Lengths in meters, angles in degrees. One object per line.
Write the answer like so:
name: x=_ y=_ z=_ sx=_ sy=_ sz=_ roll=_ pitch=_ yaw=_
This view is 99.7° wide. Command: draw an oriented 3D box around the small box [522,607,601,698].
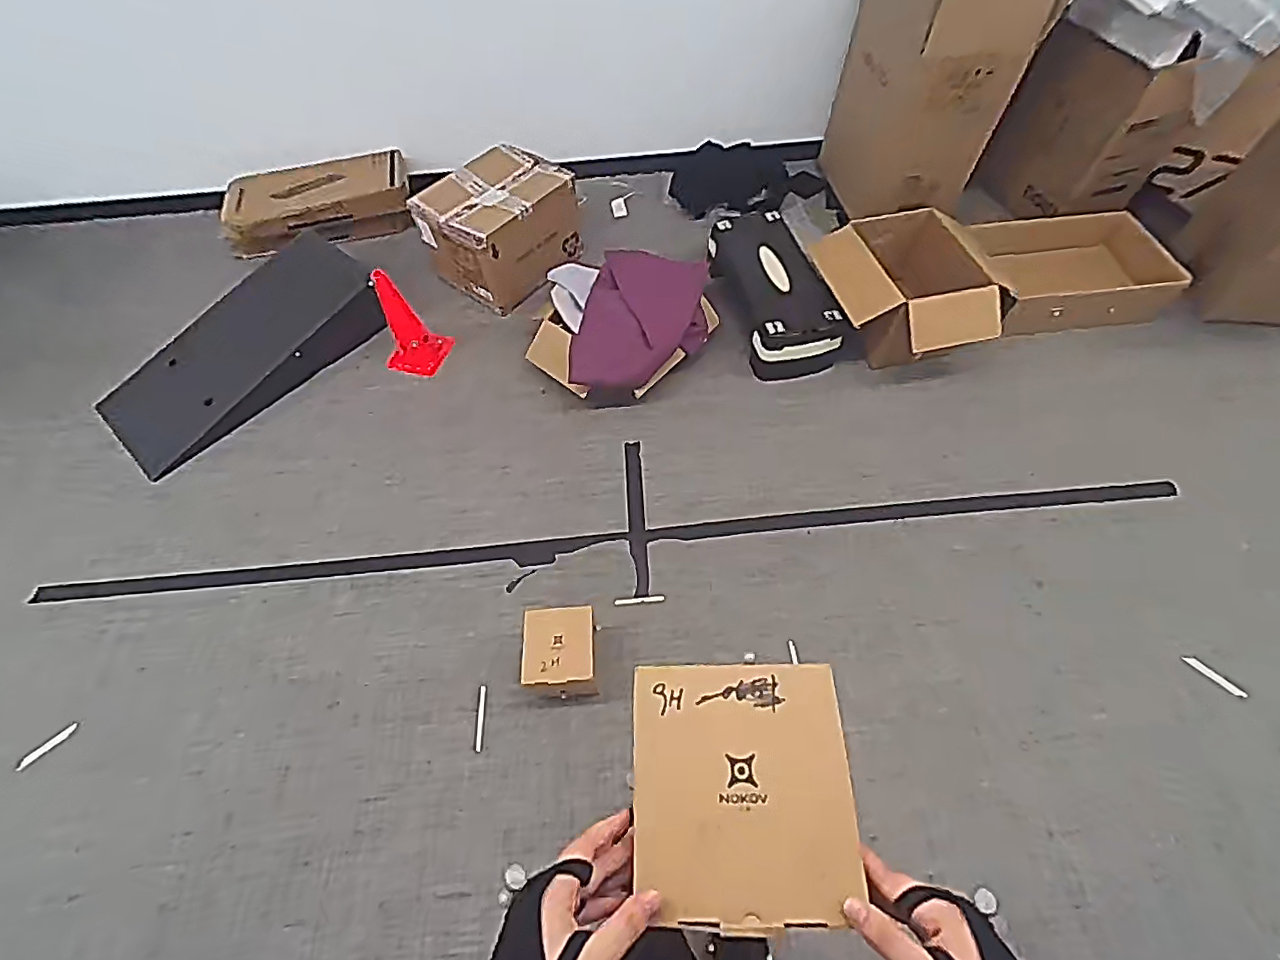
small box: x=-0.187 y=0.429 z=1.337 sx=0.168 sy=0.176 sz=0.179 roll=-4 pitch=59 yaw=1
